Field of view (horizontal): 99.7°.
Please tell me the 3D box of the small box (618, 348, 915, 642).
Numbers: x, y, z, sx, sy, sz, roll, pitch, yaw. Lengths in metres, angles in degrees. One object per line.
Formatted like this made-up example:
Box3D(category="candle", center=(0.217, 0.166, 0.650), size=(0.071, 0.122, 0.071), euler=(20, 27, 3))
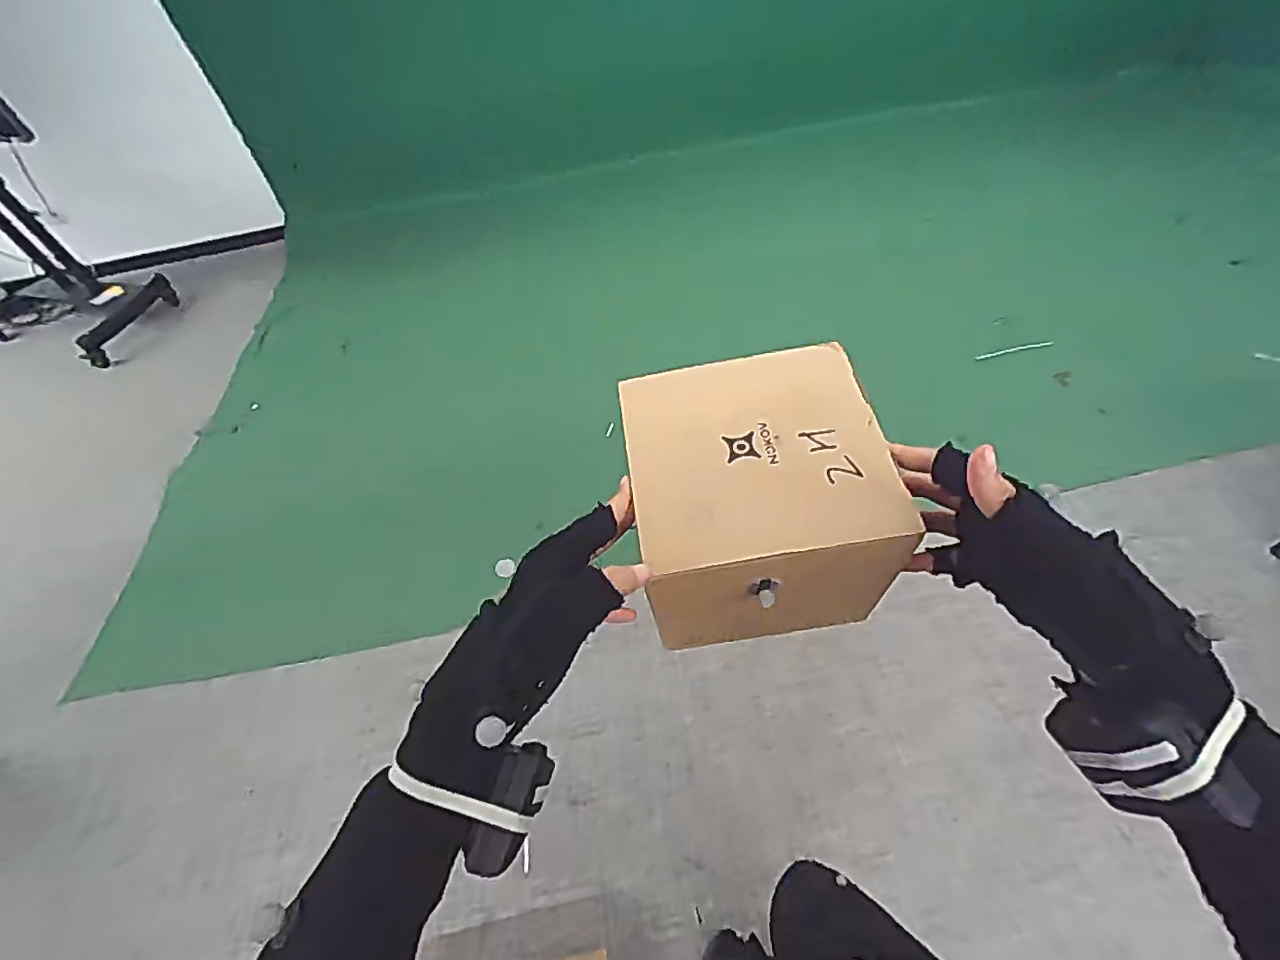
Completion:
Box3D(category="small box", center=(0.085, 0.022, 0.441), size=(0.179, 0.176, 0.168), euler=(-9, 58, 2))
